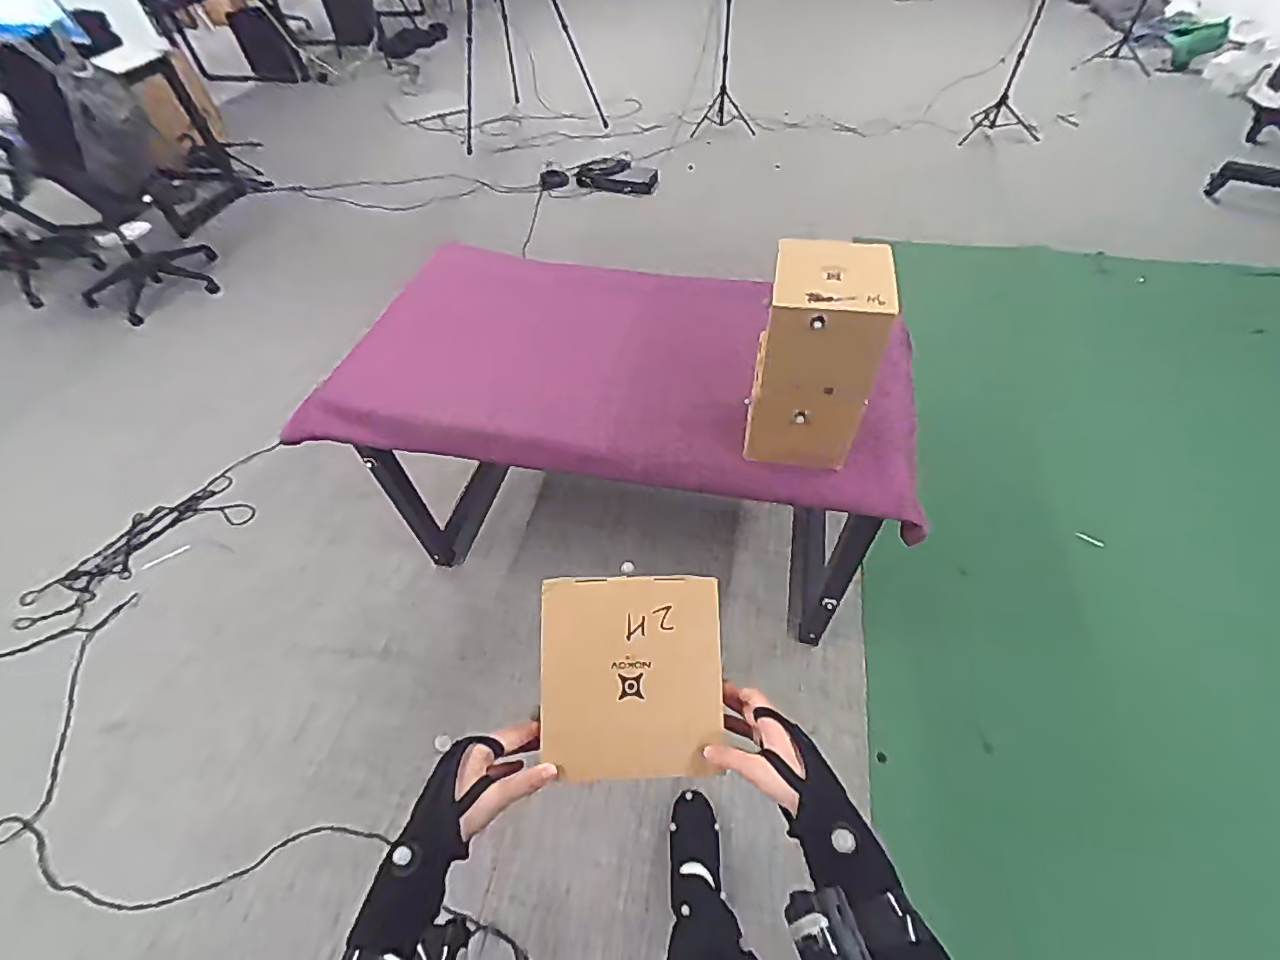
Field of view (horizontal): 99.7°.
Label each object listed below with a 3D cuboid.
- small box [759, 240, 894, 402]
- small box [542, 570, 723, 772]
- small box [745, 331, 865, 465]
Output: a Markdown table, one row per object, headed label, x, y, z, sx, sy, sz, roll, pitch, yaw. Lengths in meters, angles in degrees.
| label | x | y | z | sx | sy | sz | roll | pitch | yaw |
| --- | --- | --- | --- | --- | --- | --- | --- | --- | --- |
| small box | 0.277 | -0.245 | 0.832 | 0.168 | 0.176 | 0.179 | 6 | 53 | 12 |
| small box | -0.010 | 0.186 | 0.575 | 0.168 | 0.176 | 0.179 | -1 | 79 | -3 |
| small box | 0.286 | -0.143 | 0.961 | 0.179 | 0.176 | 0.168 | 6 | 53 | 11 |
